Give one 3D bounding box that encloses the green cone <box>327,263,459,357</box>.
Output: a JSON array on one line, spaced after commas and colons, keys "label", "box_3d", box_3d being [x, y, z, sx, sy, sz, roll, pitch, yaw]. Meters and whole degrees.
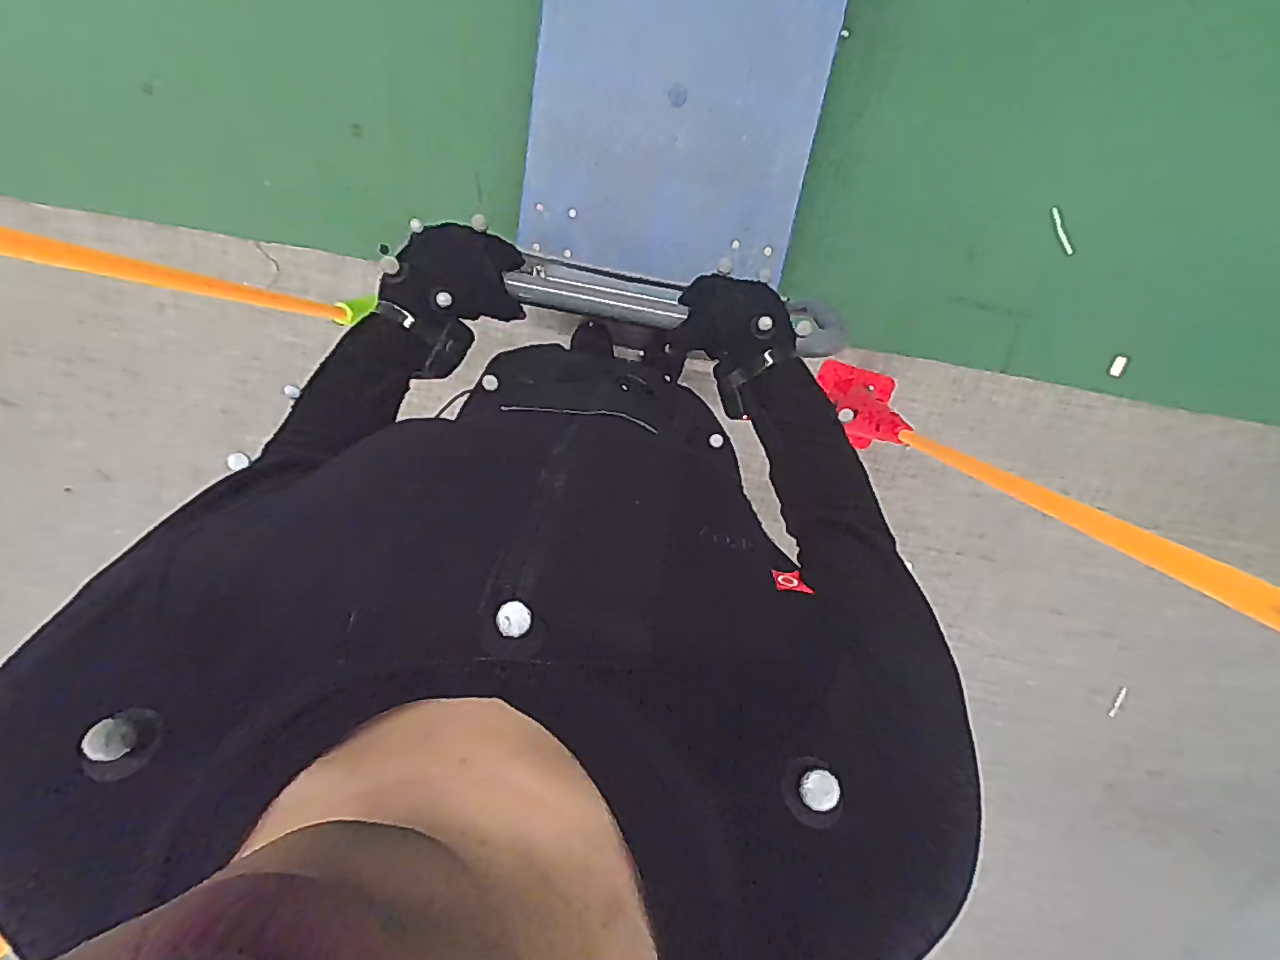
[{"label": "green cone", "box_3d": [-0.579, -0.386, 1.224, 0.202, 0.368, 0.200, 15, 106, -2]}]
